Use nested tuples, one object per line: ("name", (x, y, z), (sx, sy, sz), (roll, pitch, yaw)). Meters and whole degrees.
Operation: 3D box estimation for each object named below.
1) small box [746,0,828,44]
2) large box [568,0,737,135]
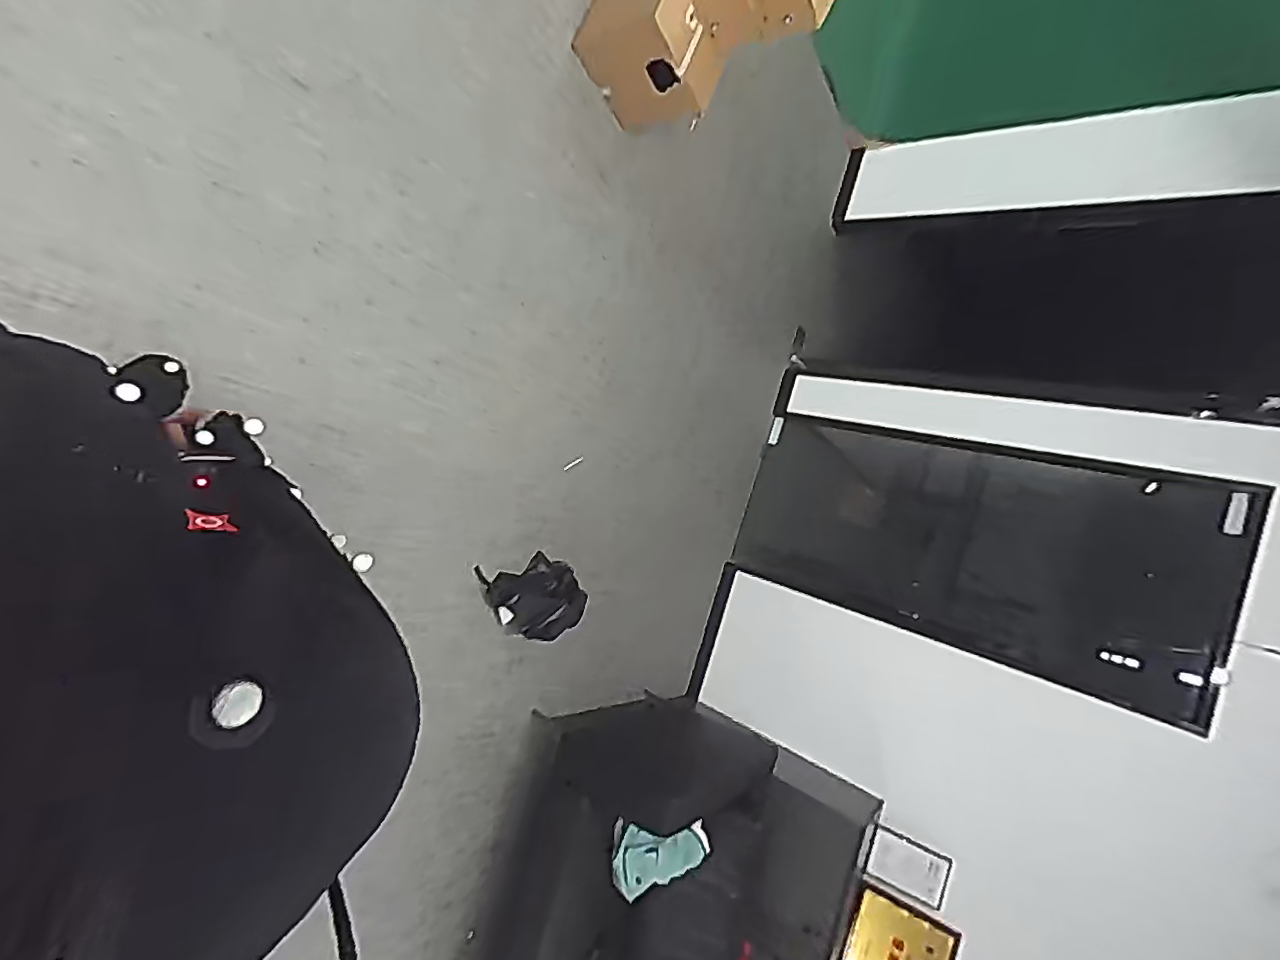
("small box", (0.391, -1.319, 1.444), (0.168, 0.176, 0.179), (41, 69, -53))
("large box", (0.045, -1.366, 1.661), (0.320, 0.320, 0.408), (32, 78, -52))
